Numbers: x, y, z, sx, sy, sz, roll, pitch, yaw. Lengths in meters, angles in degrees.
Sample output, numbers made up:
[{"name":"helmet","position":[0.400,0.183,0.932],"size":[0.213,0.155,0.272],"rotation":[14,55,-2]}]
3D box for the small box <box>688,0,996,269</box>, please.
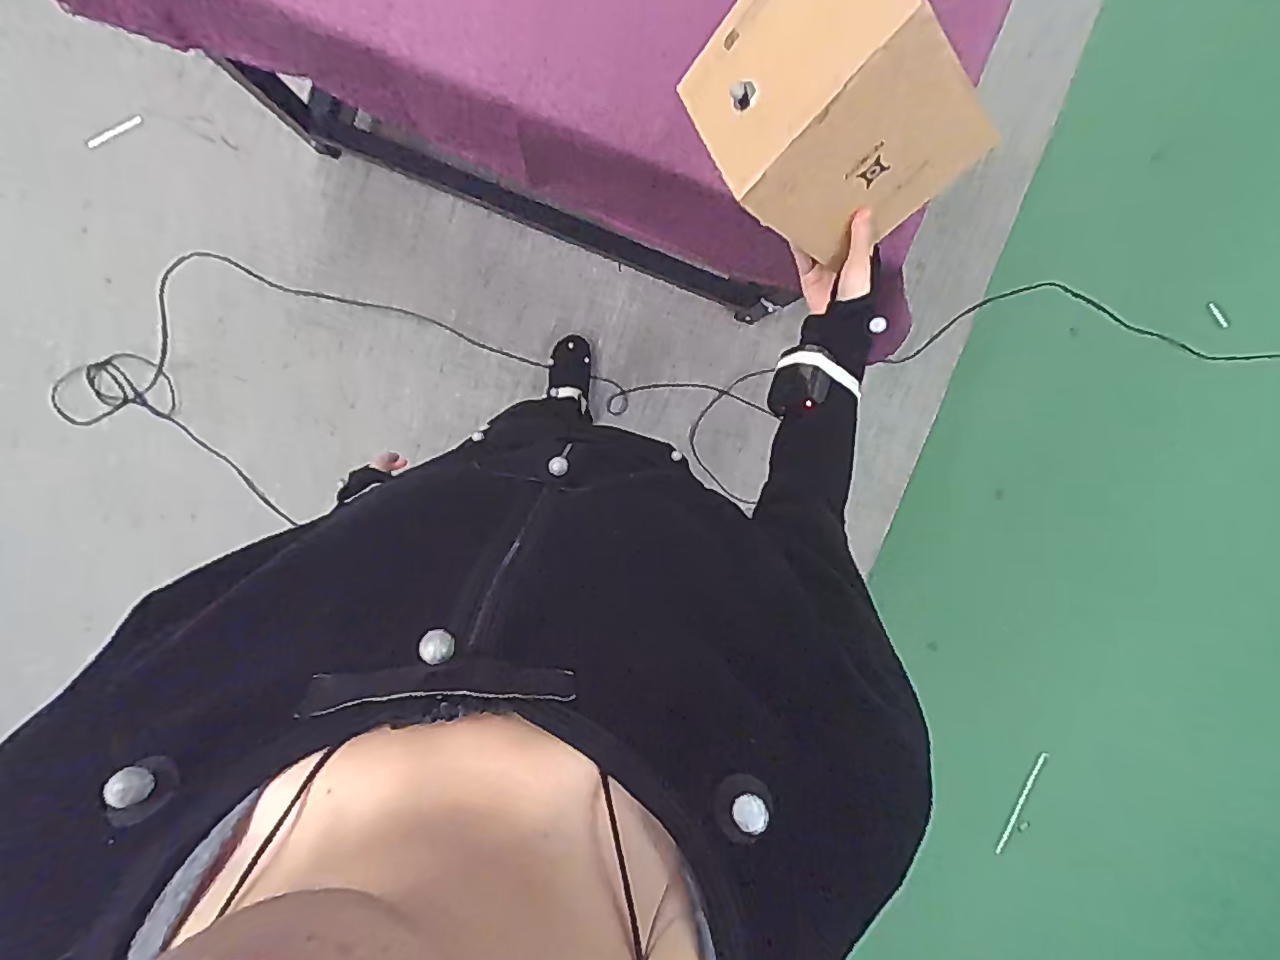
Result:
[{"name":"small box","position":[0.170,-0.335,0.487],"size":[0.168,0.179,0.176],"rotation":[-38,59,38]}]
